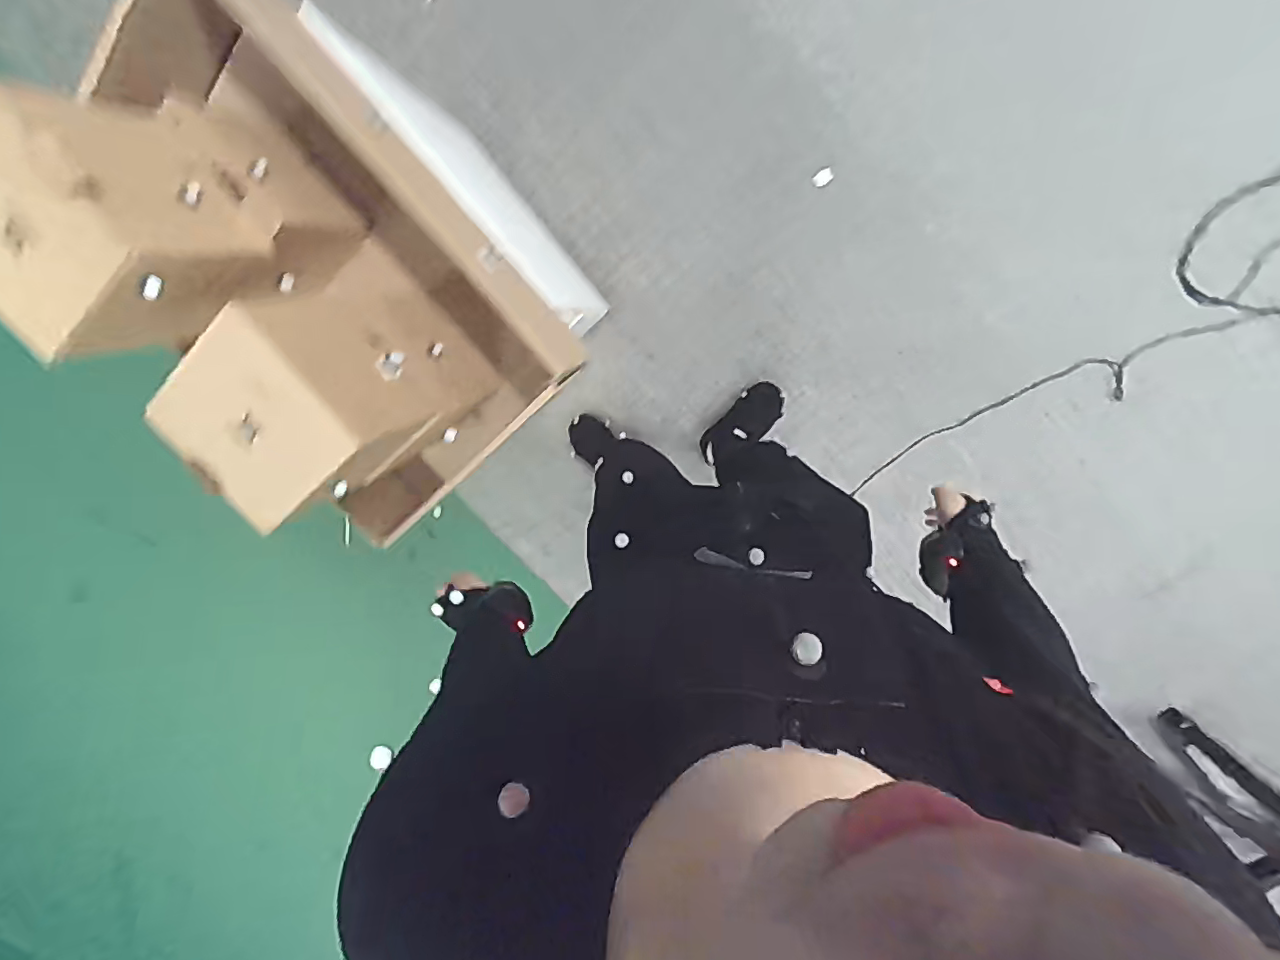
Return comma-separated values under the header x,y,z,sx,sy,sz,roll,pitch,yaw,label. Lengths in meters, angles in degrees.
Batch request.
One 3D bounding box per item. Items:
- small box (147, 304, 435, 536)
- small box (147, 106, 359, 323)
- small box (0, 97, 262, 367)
x,y,z,sx,sy,sz,roll,pitch,yaw,label
-0.368,-0.074,0.602,0.179,0.176,0.168,-35,102,20,small box
-0.511,-0.330,0.702,0.179,0.176,0.168,-36,104,21,small box
-0.554,-0.245,0.566,0.179,0.176,0.168,-32,103,19,small box
